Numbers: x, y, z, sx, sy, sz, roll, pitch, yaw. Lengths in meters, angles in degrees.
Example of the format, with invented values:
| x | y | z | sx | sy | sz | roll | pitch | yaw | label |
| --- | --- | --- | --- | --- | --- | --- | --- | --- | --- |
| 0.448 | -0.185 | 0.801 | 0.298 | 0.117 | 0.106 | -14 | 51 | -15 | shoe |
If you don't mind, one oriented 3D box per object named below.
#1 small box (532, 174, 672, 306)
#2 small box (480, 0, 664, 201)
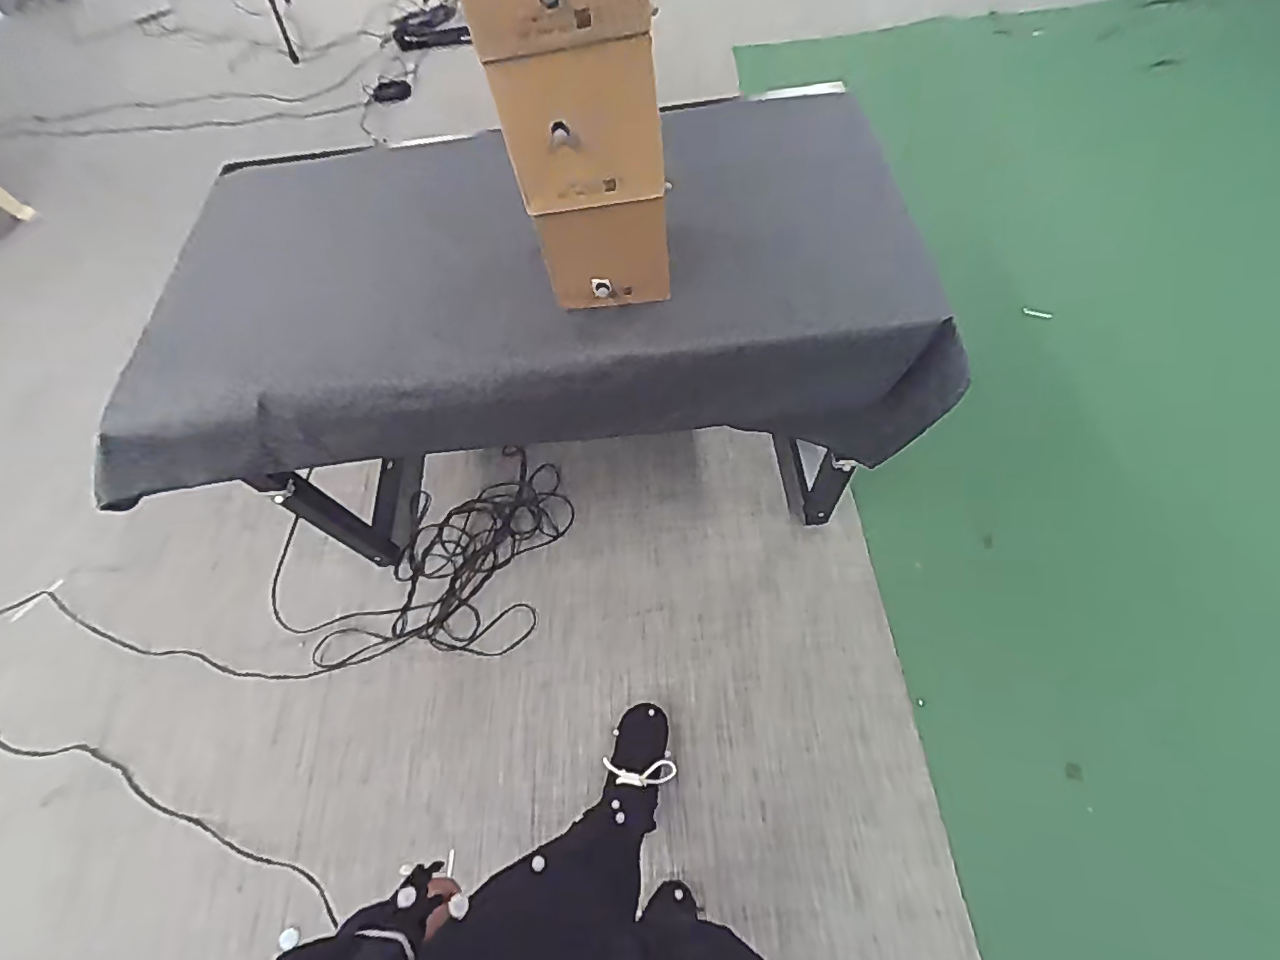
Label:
| x | y | z | sx | sy | sz | roll | pitch | yaw | label |
| --- | --- | --- | --- | --- | --- | --- | --- | --- | --- |
| -0.046 | -0.373 | 0.758 | 0.168 | 0.176 | 0.179 | -6 | 63 | 4 | small box |
| -0.067 | -0.441 | 0.611 | 0.168 | 0.176 | 0.179 | -7 | 61 | 4 | small box |
